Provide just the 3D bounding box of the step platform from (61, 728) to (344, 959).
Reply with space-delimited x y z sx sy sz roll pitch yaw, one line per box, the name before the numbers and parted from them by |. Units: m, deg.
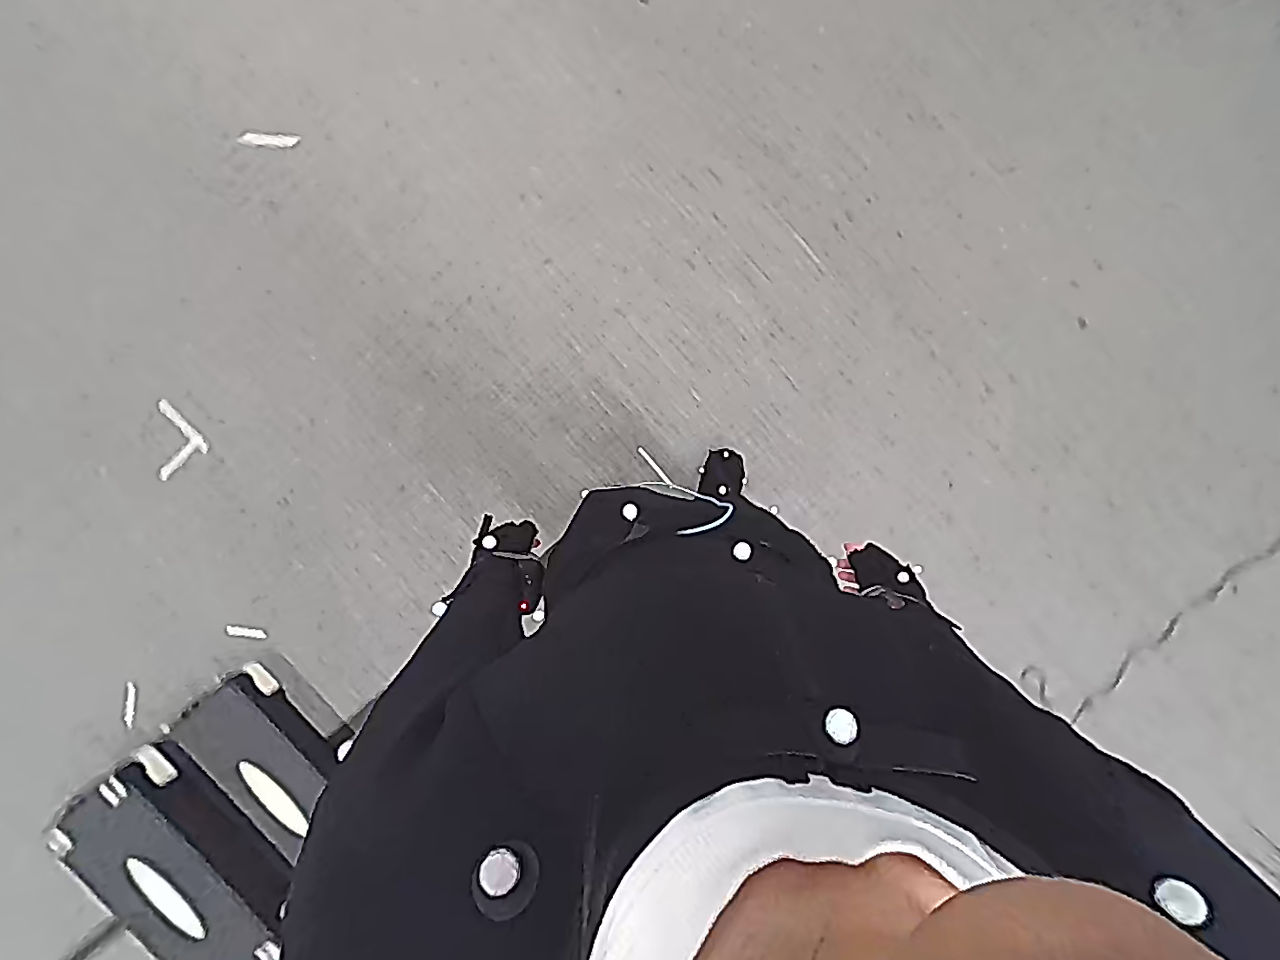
step platform | -1.138 1.019 1.432 0.286 0.204 0.684 -42 91 2
